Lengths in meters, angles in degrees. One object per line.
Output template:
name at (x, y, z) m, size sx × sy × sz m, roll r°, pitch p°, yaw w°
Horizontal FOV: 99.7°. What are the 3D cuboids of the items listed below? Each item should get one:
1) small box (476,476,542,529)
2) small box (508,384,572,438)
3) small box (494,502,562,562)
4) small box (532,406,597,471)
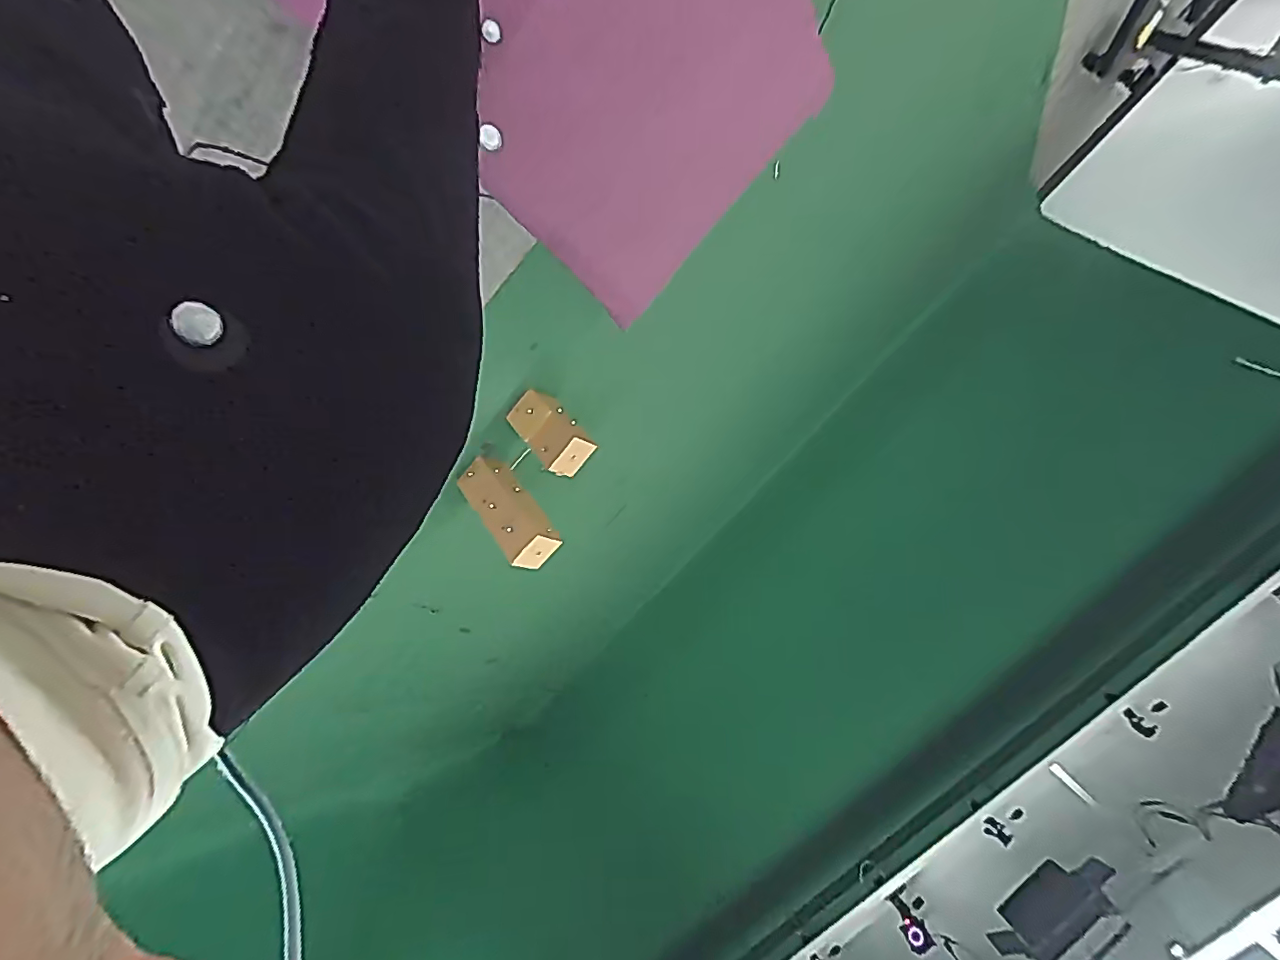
small box at (-0.556, 0.104, 2.281) m, size 0.168 × 0.176 × 0.179 m, roll -46°, pitch 150°, yaw 10°
small box at (-0.420, -0.278, 2.267) m, size 0.168 × 0.176 × 0.179 m, roll -49°, pitch 152°, yaw 12°
small box at (-0.457, 0.210, 2.203) m, size 0.168 × 0.176 × 0.179 m, roll -46°, pitch 151°, yaw 8°
small box at (-0.317, -0.168, 2.205) m, size 0.179 × 0.176 × 0.168 m, roll -49°, pitch 152°, yaw 12°
